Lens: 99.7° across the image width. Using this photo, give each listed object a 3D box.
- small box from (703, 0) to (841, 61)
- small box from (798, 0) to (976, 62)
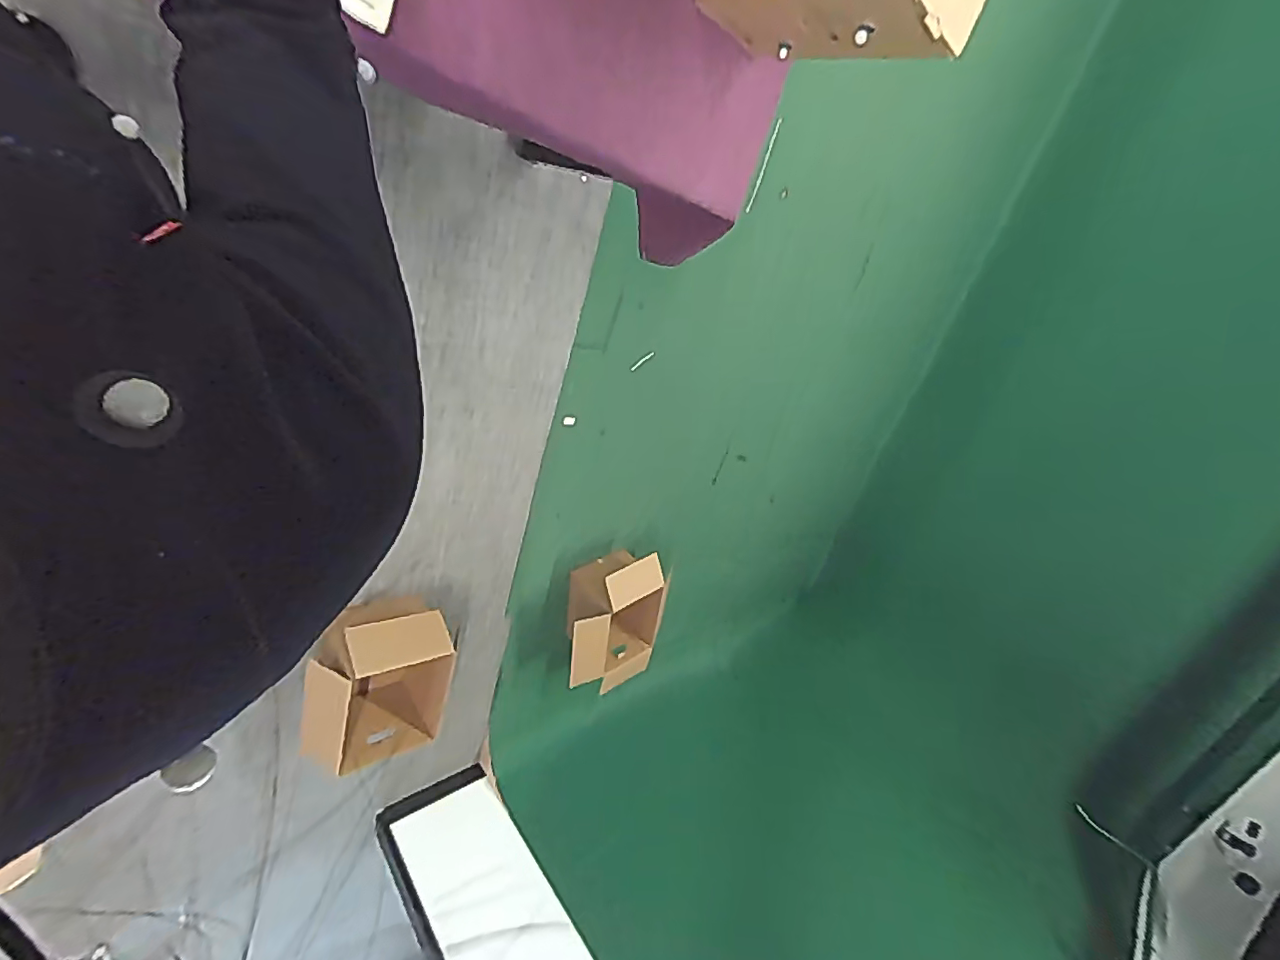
[{"bbox_3d":[0.205,-0.718,0.745,0.168,0.176,0.179,-4,121,-45],"label":"small box"},{"bbox_3d":[0.306,-0.639,0.642,0.168,0.176,0.179,-5,122,-46],"label":"small box"}]
